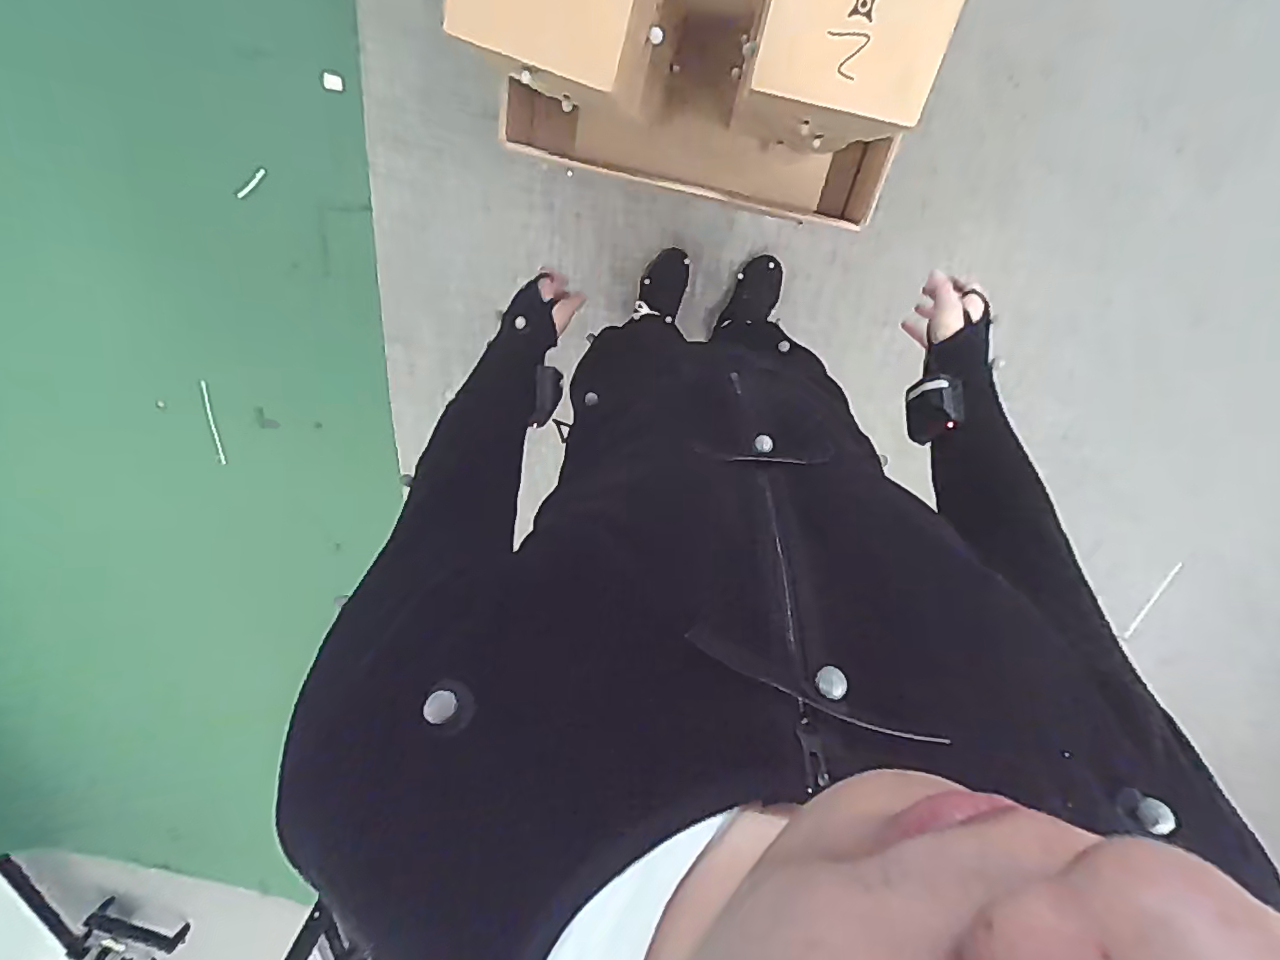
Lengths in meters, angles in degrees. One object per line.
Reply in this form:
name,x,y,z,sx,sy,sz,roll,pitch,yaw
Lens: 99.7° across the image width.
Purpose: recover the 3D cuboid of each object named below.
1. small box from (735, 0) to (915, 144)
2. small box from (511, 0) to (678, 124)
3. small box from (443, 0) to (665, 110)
small box,0.224,-0.546,0.686,0.168,0.176,0.179,14,118,-1
small box,-0.052,-0.589,0.702,0.168,0.176,0.179,17,118,-1
small box,-0.075,-0.511,0.560,0.179,0.176,0.168,19,119,-4
